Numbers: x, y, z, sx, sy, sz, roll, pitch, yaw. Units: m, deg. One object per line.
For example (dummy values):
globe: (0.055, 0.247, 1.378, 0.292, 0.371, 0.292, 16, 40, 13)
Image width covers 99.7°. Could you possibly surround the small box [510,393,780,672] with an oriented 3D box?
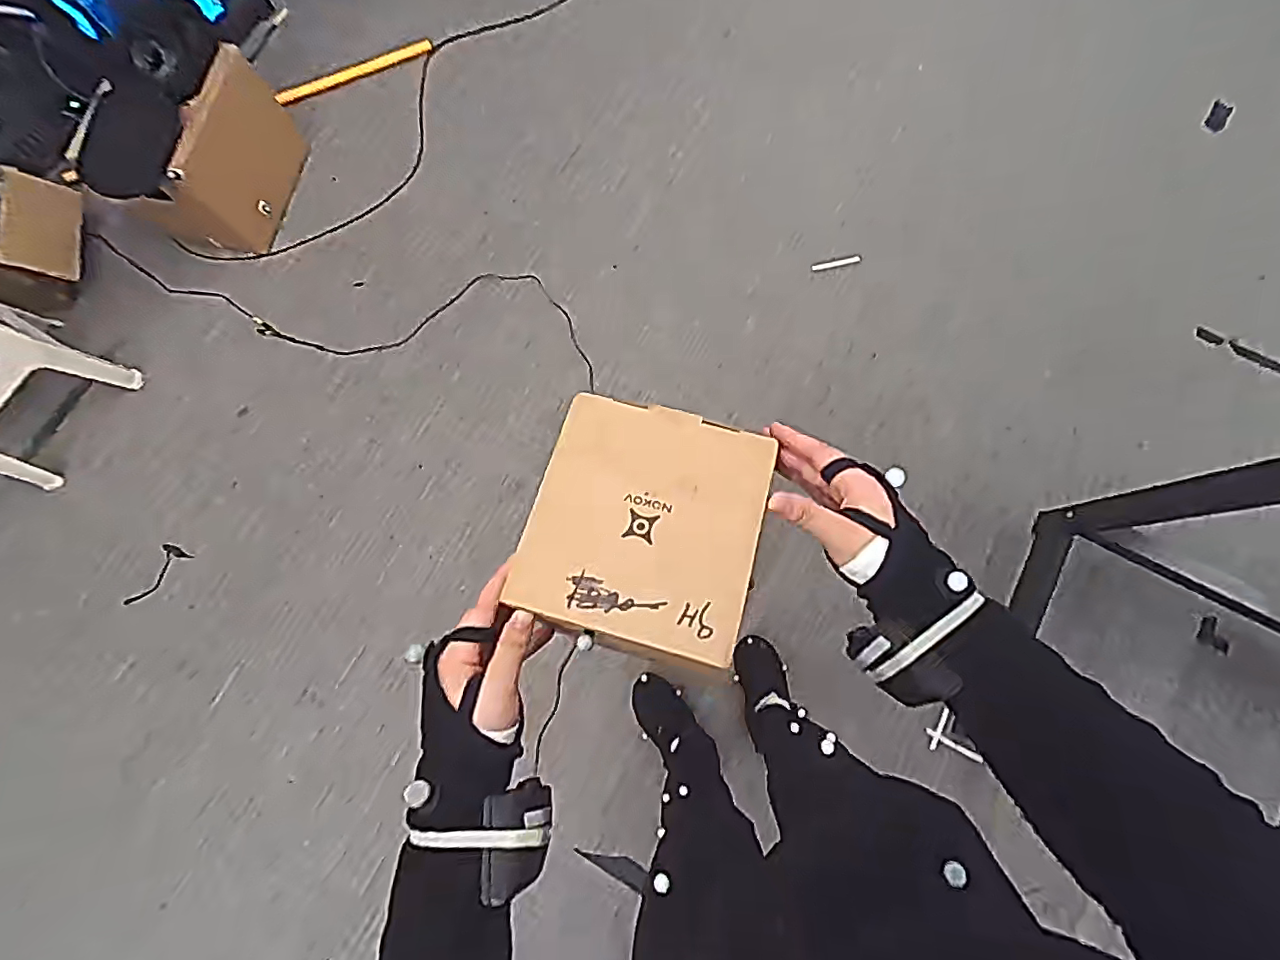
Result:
small box: (0.009, 0.055, 0.475, 0.168, 0.176, 0.179, 15, 69, 8)
